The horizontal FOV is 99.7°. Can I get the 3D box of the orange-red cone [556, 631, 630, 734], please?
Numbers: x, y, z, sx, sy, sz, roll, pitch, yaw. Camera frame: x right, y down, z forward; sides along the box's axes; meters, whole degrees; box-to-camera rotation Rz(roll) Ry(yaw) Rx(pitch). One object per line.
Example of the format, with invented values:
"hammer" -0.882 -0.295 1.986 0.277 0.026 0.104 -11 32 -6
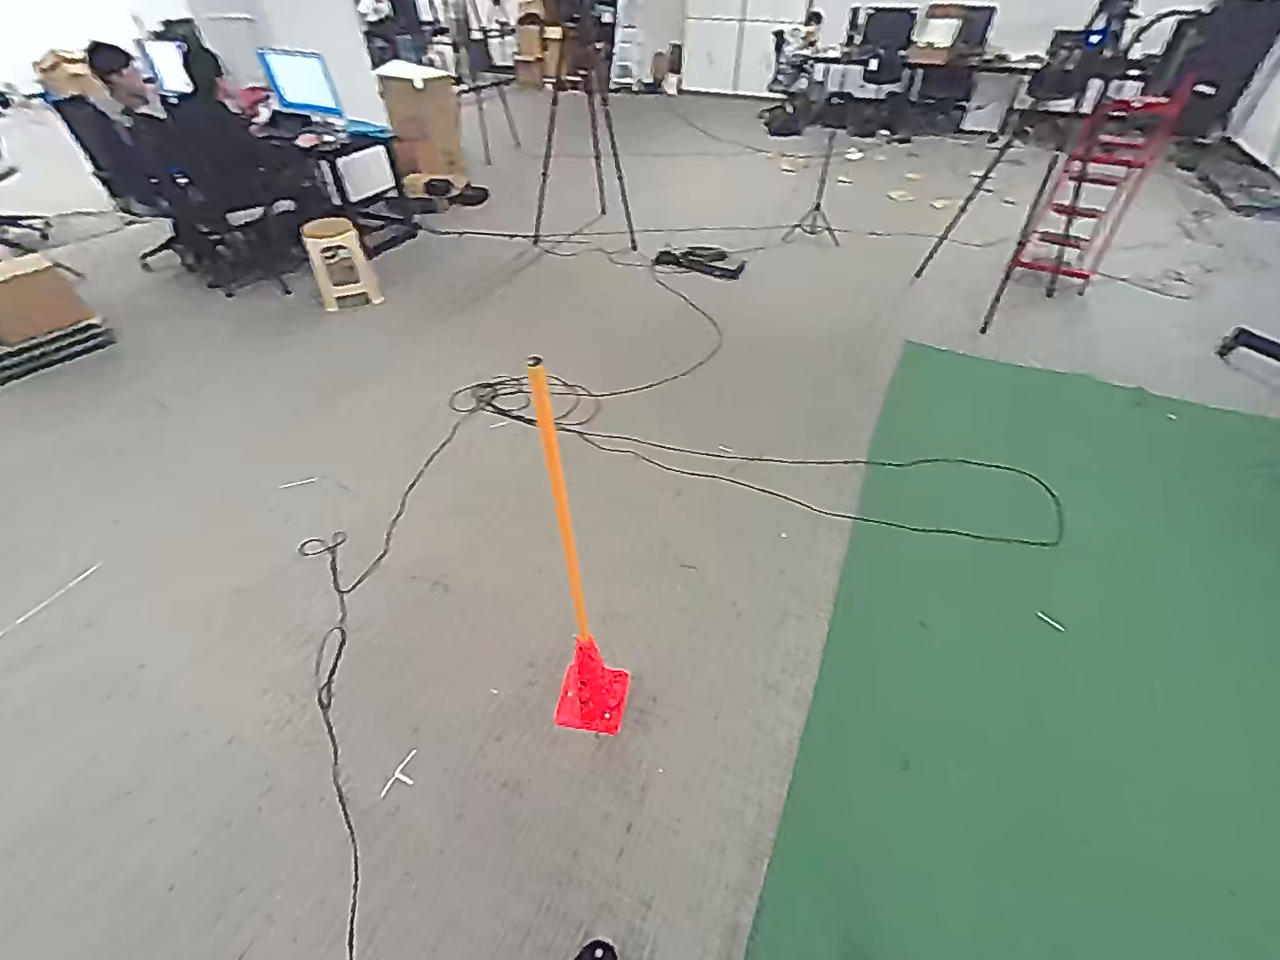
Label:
"orange-red cone" -0.139 0.536 1.531 0.198 0.360 0.199 8 43 8
